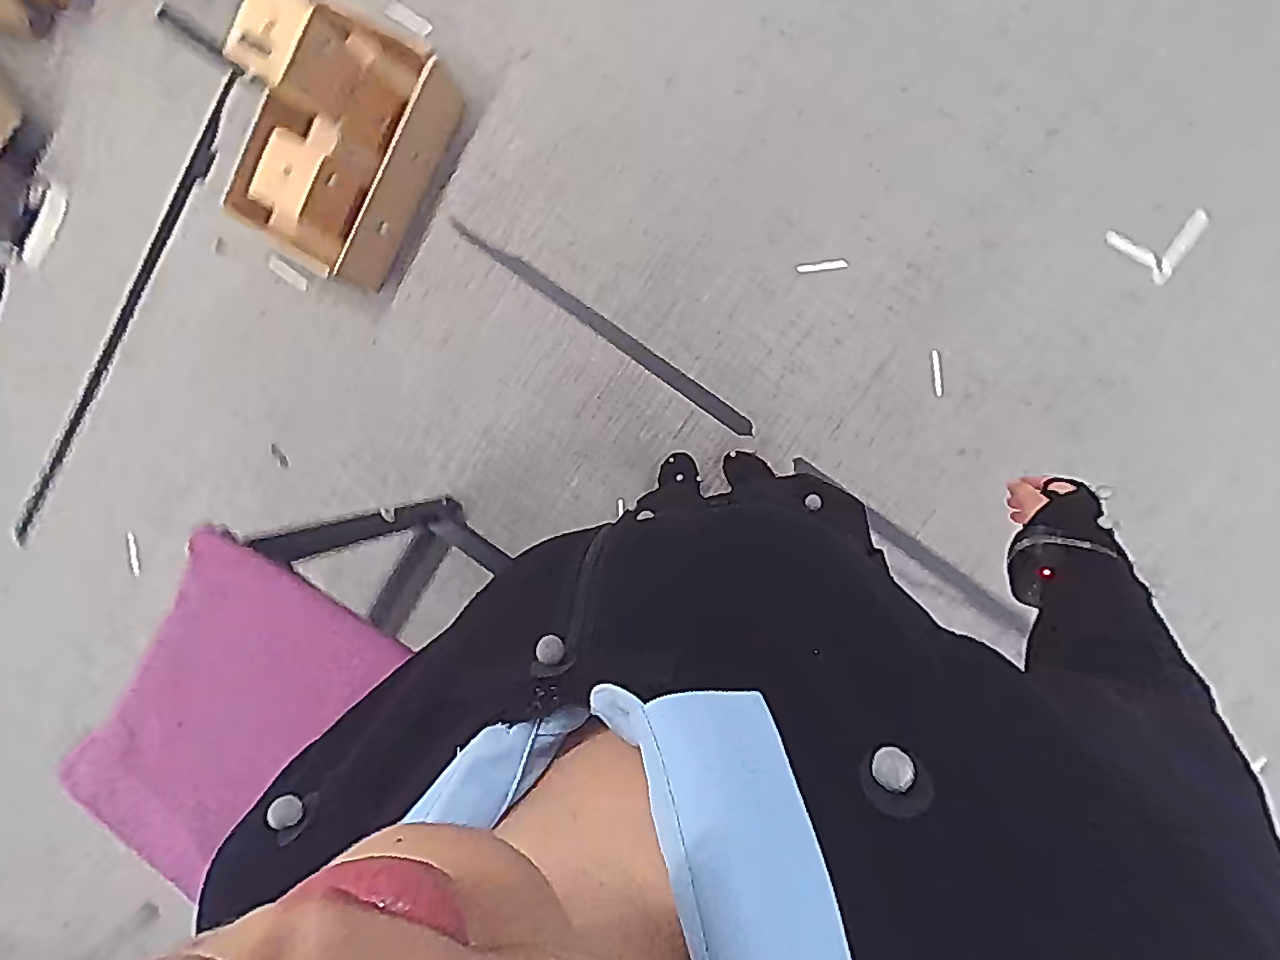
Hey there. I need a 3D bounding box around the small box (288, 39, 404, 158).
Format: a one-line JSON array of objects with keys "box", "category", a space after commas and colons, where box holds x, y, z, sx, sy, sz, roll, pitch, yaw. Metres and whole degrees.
[{"box": [-0.772, -0.998, 1.432, 0.179, 0.176, 0.168, 30, 99, 6], "category": "small box"}]

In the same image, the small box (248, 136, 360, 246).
[{"box": [-0.898, -0.773, 1.465, 0.168, 0.176, 0.179, 29, 97, 8], "category": "small box"}]
